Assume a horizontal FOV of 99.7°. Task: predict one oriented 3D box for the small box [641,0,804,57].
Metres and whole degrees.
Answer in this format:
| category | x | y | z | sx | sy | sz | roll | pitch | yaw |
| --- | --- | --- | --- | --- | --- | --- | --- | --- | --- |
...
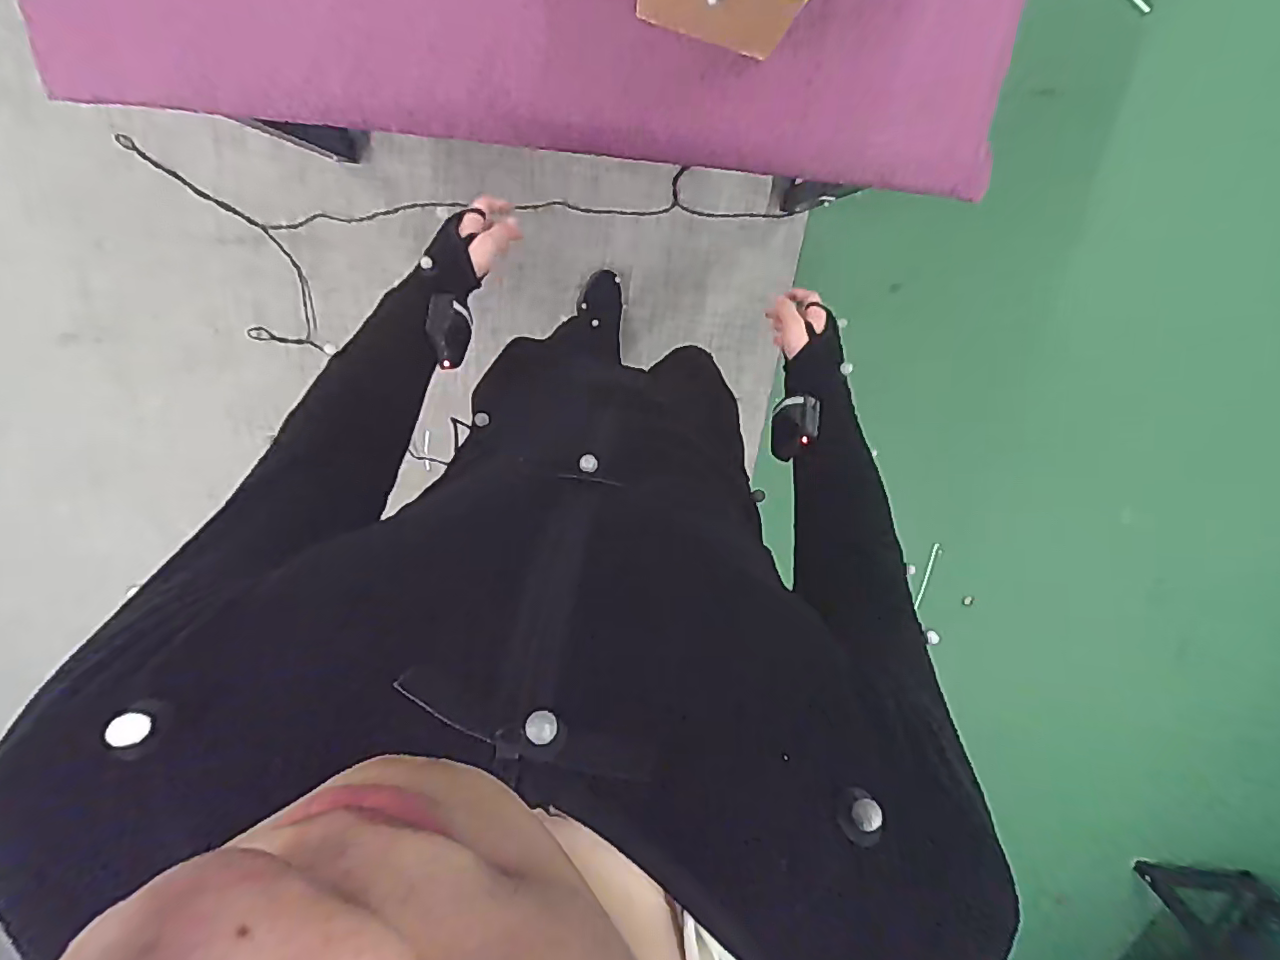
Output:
| category | x | y | z | sx | sy | sz | roll | pitch | yaw |
| --- | --- | --- | --- | --- | --- | --- | --- | --- | --- |
| small box | 0.104 | -0.596 | 0.576 | 0.179 | 0.176 | 0.168 | 14 | 110 | -8 |
